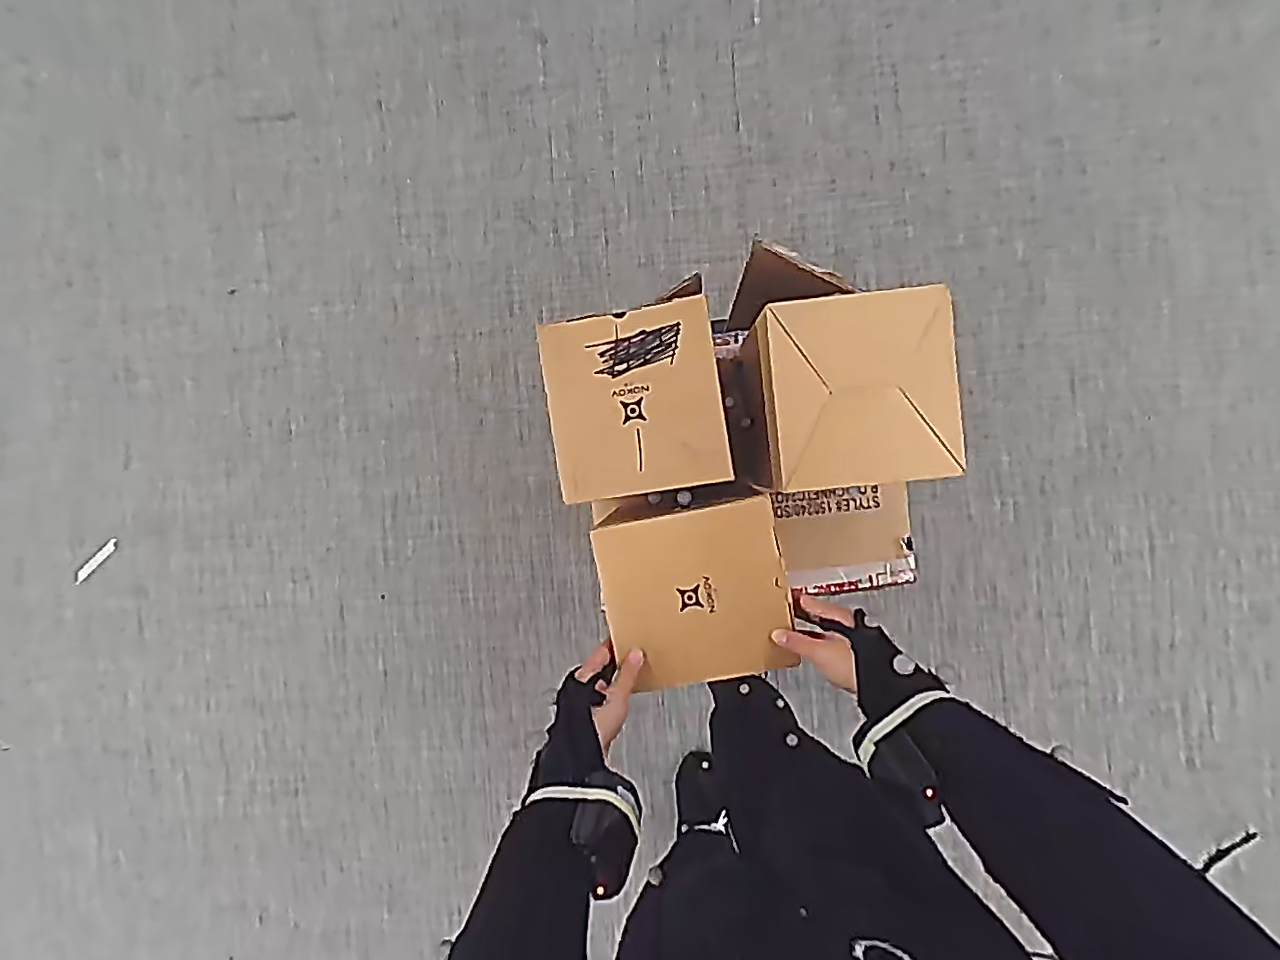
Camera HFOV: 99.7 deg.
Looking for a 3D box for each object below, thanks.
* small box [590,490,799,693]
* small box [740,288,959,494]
[{"bbox_3d":[0.057,0.109,0.592,0.179,0.176,0.168,-11,92,4],"label":"small box"},{"bbox_3d":[0.207,-0.080,0.571,0.168,0.176,0.179,-6,91,2],"label":"small box"}]
